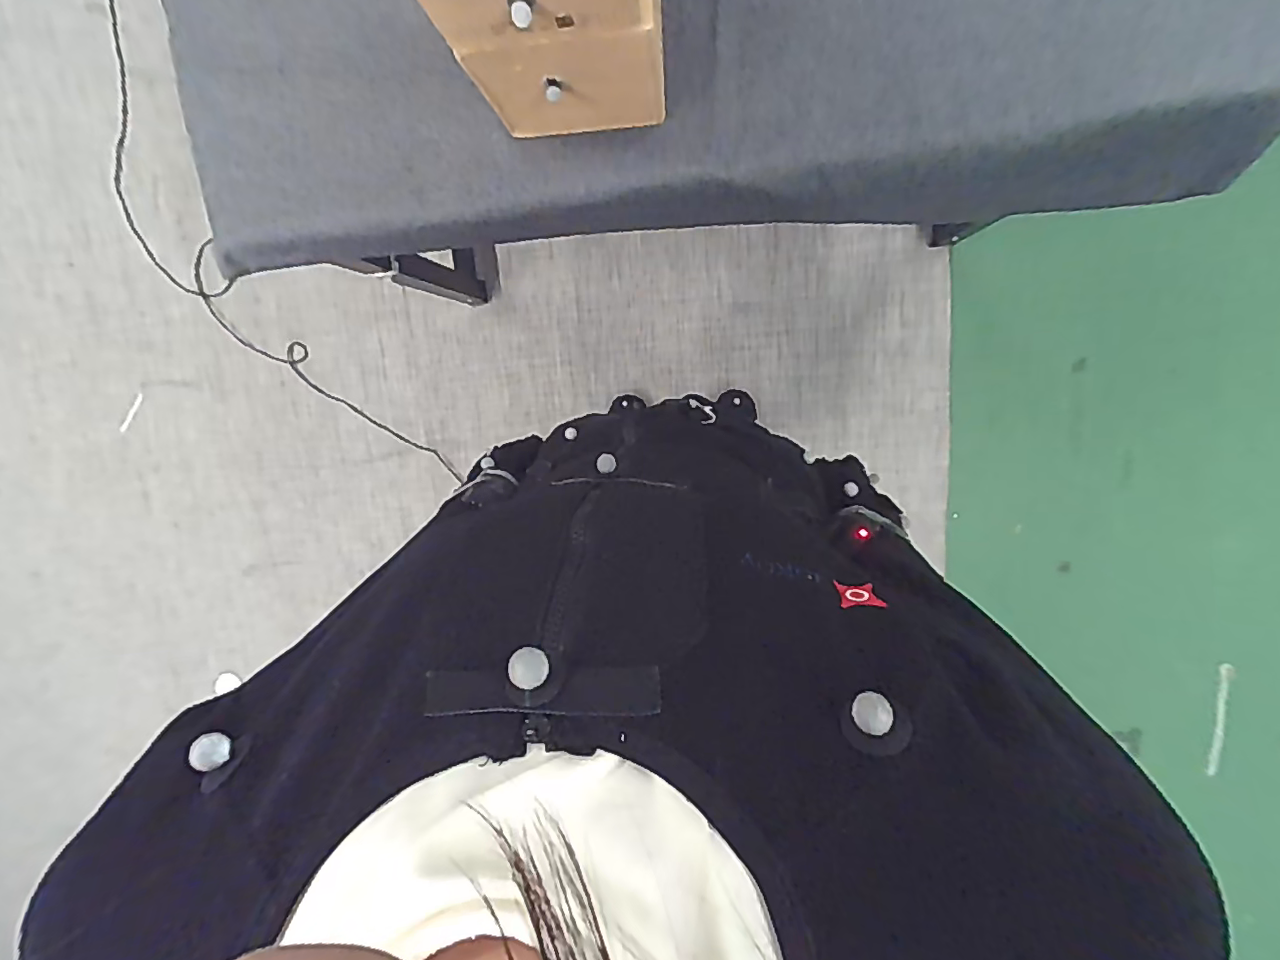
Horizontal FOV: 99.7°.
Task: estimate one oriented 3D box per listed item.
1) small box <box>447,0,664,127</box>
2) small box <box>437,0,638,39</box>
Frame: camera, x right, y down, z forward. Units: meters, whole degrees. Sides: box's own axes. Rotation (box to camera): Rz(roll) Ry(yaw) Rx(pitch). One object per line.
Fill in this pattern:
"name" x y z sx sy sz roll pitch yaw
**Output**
"small box" -0.071 -0.468 0.521 0.179 0.176 0.168 -1 100 6
"small box" -0.090 -0.445 0.358 0.168 0.176 0.179 -1 101 6
